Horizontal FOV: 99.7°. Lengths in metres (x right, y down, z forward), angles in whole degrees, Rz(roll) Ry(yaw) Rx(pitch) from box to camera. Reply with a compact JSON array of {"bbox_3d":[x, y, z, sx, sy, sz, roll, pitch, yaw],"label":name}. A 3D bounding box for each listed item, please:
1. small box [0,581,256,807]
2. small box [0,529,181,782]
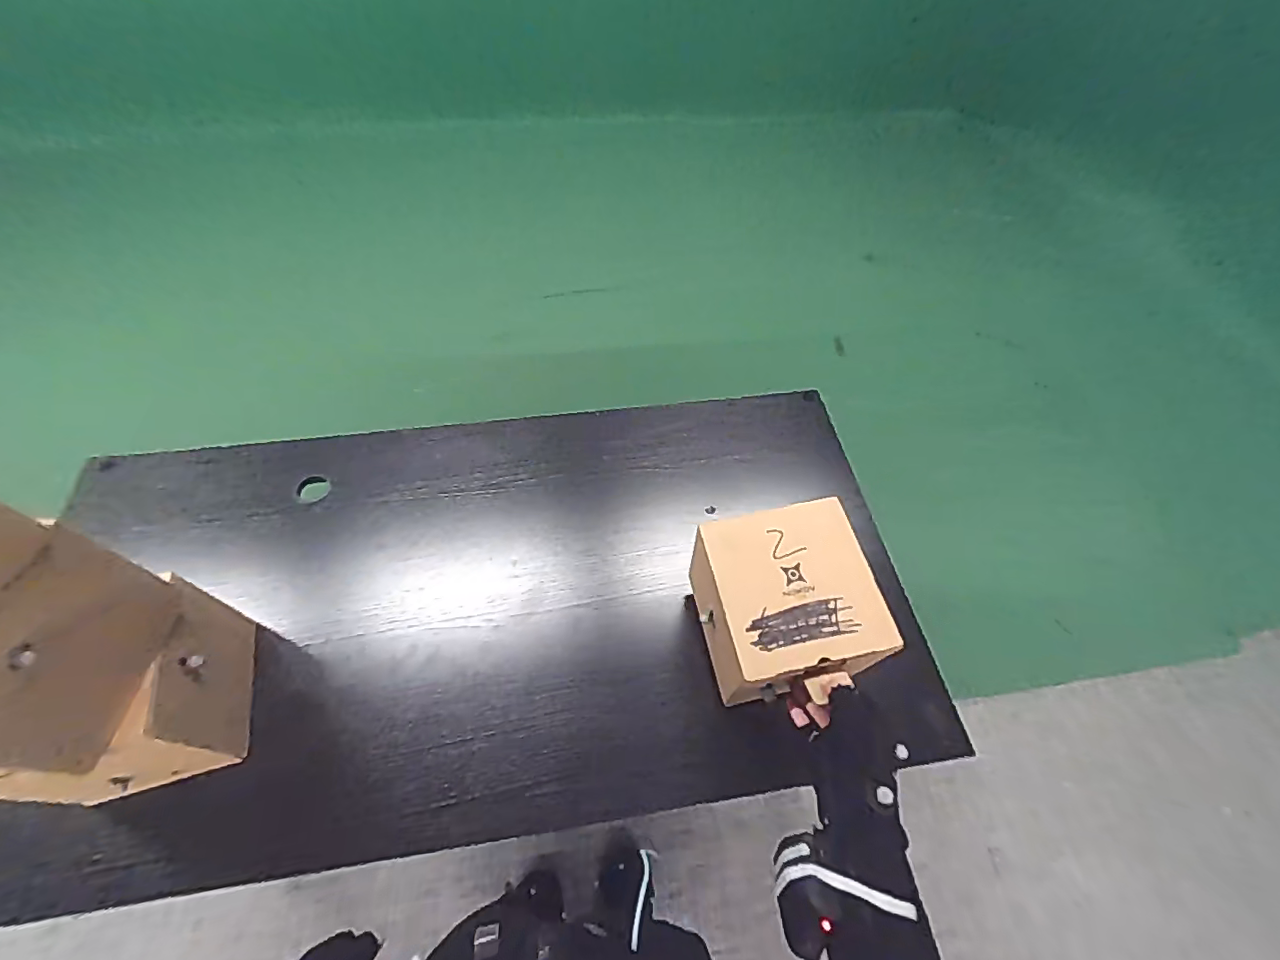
[{"bbox_3d":[-0.560,0.240,0.599,0.168,0.176,0.179,-13,59,-11],"label":"small box"},{"bbox_3d":[-0.558,0.150,0.461,0.168,0.176,0.179,5,57,0],"label":"small box"}]
